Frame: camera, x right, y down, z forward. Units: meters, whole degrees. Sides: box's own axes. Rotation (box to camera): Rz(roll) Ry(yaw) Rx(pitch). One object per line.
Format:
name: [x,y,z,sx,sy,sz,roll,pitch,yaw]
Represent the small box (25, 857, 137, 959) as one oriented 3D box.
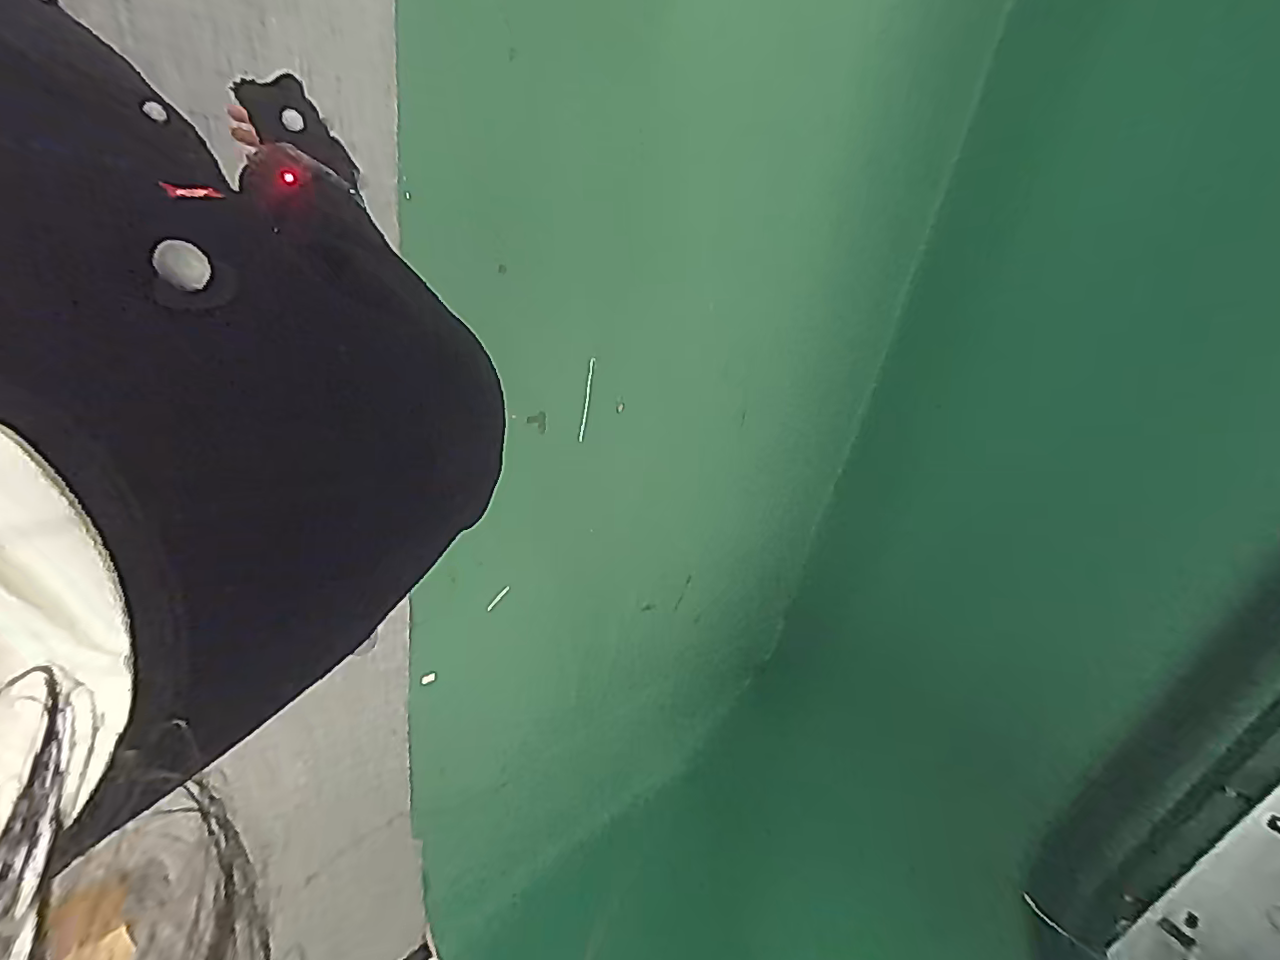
small box: [-1.476,1.164,1.430,0.179,0.176,0.168,-17,129,-43]
